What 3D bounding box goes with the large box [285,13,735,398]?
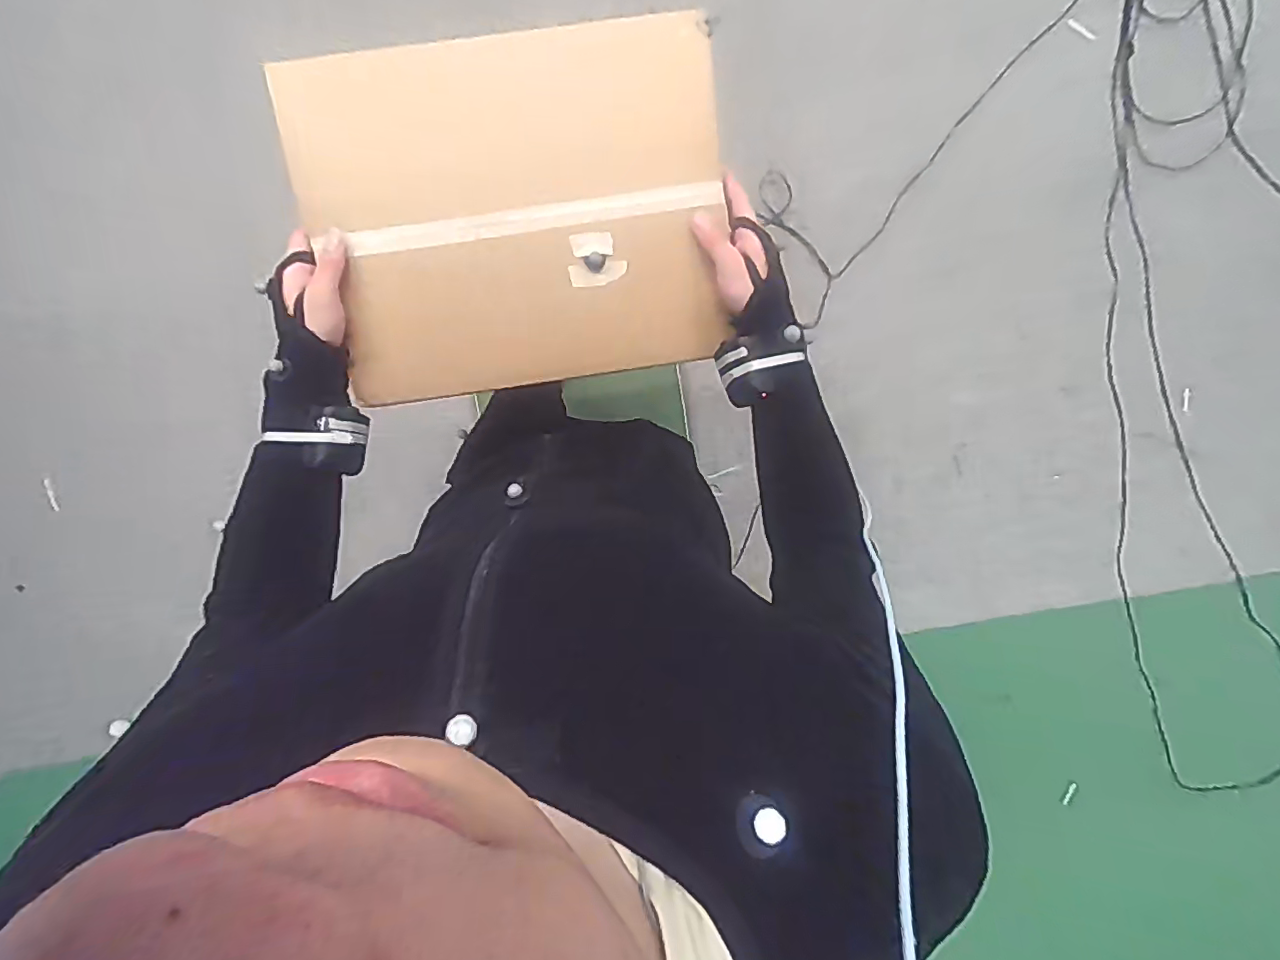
[{"bbox_3d":[-0.126,-0.299,0.685,0.408,0.320,0.320,-9,105,-3],"label":"large box"}]
